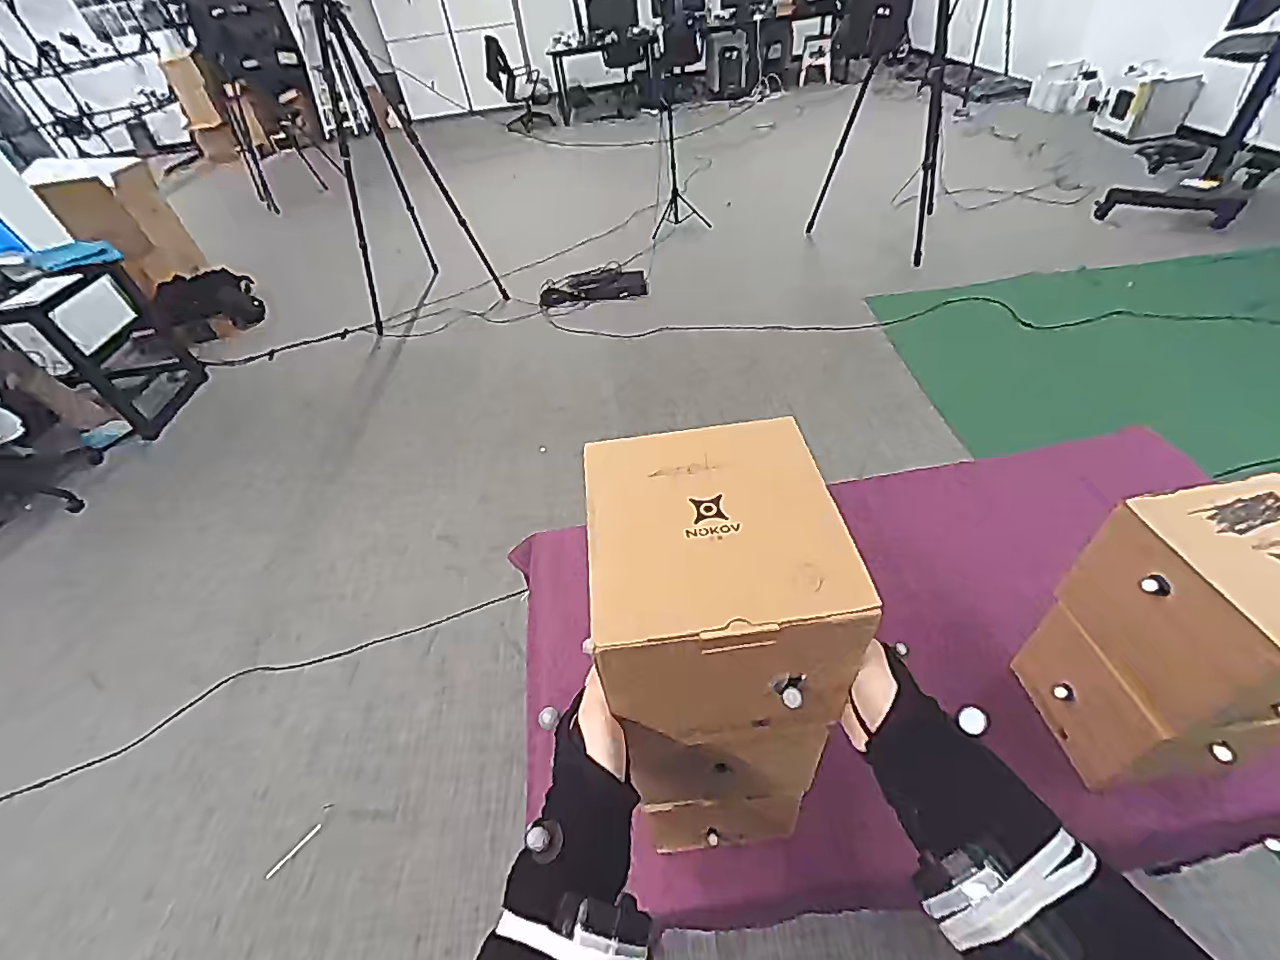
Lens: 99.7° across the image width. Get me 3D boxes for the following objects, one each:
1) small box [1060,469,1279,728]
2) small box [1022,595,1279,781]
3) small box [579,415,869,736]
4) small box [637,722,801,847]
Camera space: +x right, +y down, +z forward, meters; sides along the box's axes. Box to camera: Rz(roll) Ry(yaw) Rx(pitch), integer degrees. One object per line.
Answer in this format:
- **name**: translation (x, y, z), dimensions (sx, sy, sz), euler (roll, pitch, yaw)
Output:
- **small box**: translation (0.578, 0.117, 0.539), dimensions (0.168, 0.176, 0.179), euler (-11, 44, 0)
- **small box**: translation (0.599, 0.240, 0.647), dimensions (0.179, 0.176, 0.168), euler (-8, 44, 1)
- **small box**: translation (0.049, 0.078, 0.413), dimensions (0.168, 0.176, 0.179), euler (-8, 45, 0)
- **small box**: translation (0.084, 0.319, 0.661), dimensions (0.168, 0.176, 0.179), euler (-9, 44, 1)
